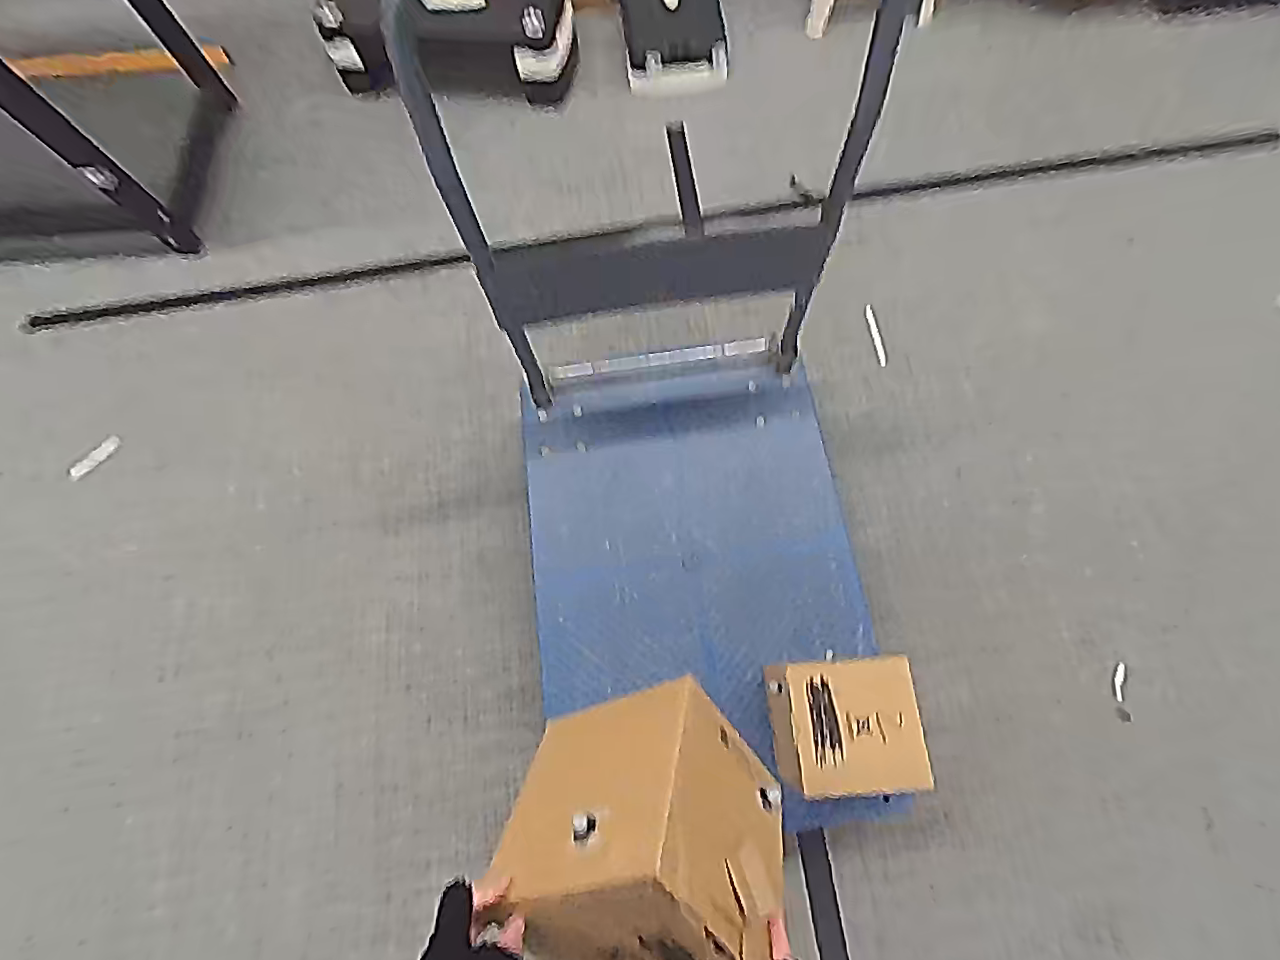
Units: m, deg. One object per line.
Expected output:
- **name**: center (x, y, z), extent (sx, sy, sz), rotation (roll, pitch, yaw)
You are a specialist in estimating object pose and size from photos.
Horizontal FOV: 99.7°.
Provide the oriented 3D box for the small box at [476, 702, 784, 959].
- **small box**: center (0.006, 0.318, 0.455), extent (0.179, 0.176, 0.168), rotation (-29, 108, 26)
